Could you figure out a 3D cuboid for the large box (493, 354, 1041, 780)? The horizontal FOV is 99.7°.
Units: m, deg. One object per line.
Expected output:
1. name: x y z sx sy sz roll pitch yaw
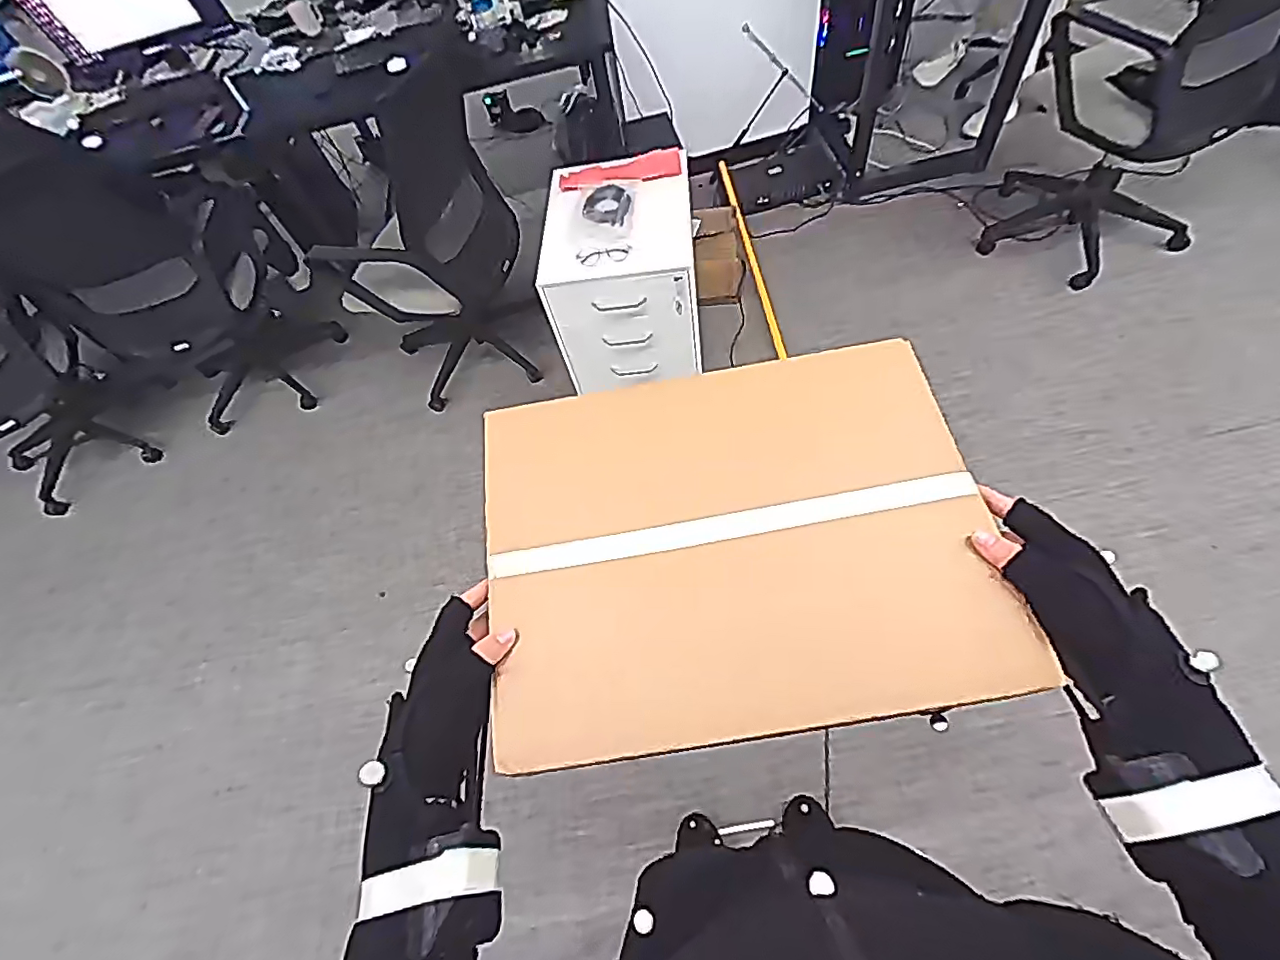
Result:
1. large box: 0.090 0.111 0.590 0.408 0.320 0.320 -10 63 1
